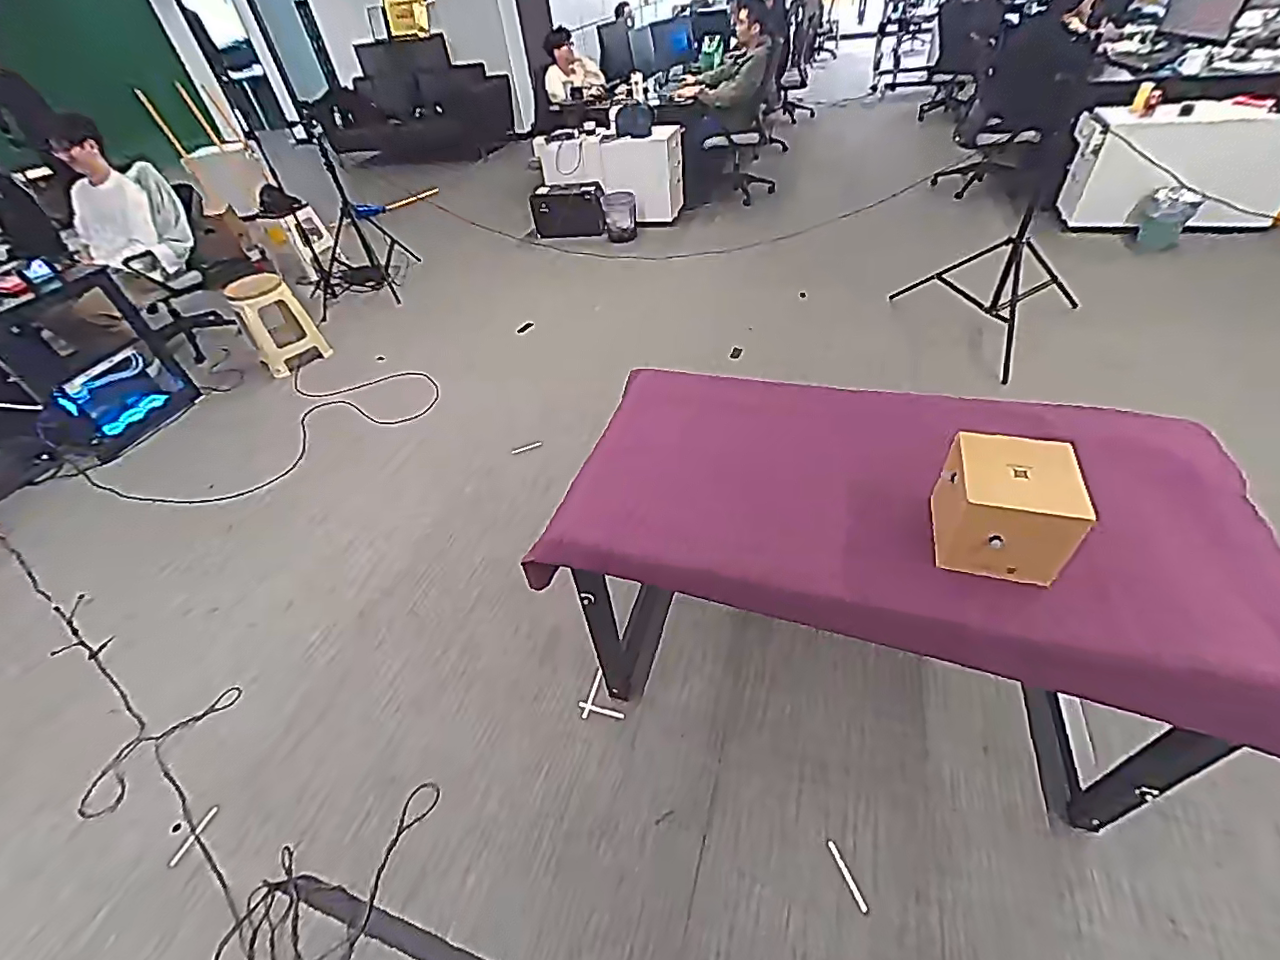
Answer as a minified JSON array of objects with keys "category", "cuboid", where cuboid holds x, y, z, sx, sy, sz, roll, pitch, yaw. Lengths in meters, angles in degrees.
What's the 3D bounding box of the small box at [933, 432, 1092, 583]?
[{"category":"small box","cuboid":[0.600,0.046,0.897,0.168,0.176,0.179,9,45,17]}]
